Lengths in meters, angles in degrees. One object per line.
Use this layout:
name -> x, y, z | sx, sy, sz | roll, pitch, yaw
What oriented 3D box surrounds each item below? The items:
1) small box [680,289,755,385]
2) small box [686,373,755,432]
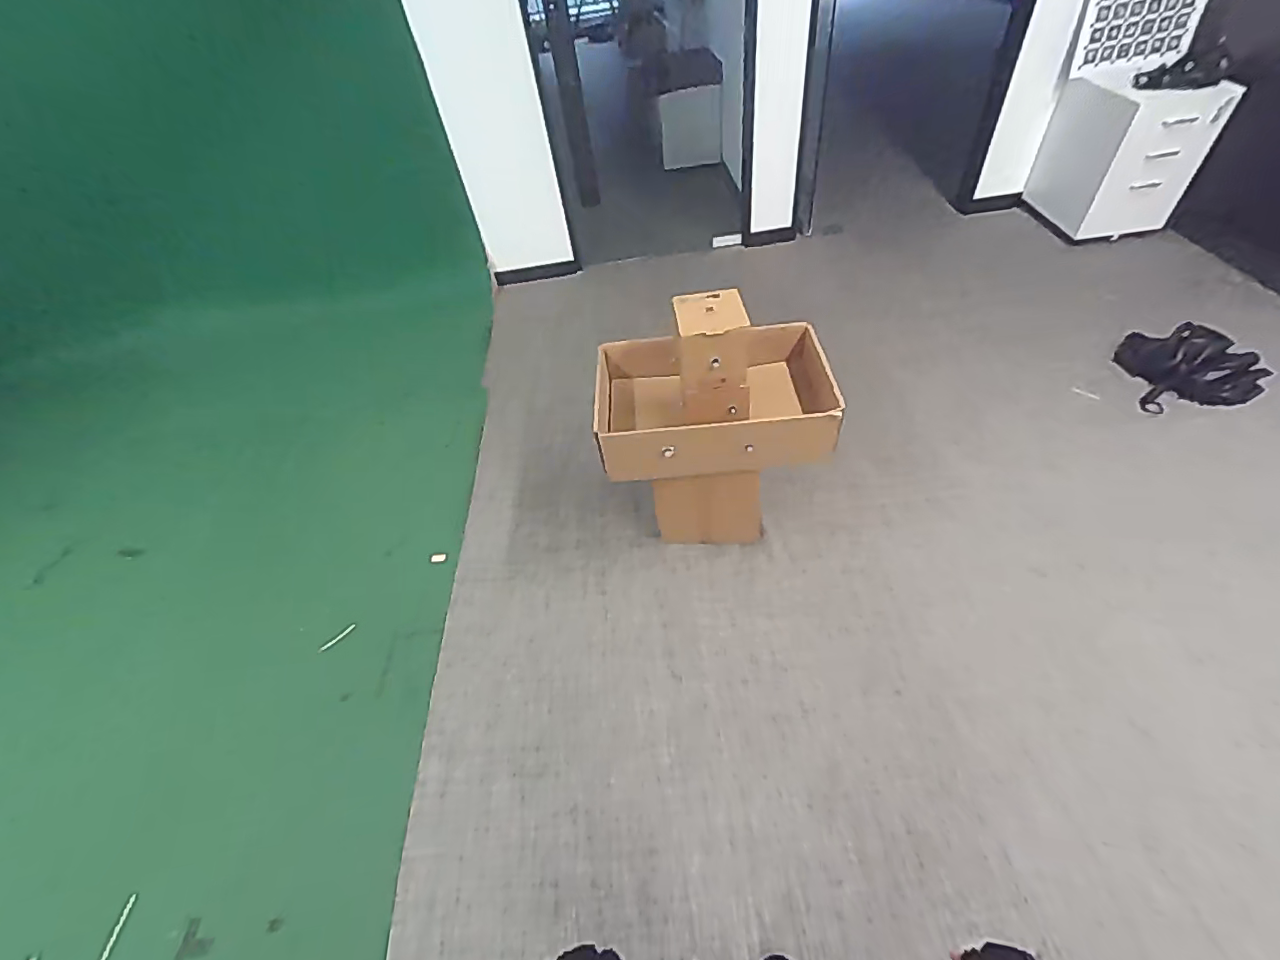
small box -> 0.192, -0.353, 1.360 | 0.168, 0.176, 0.179 | -6, 49, 2
small box -> 0.216, -0.244, 1.479 | 0.168, 0.176, 0.179 | -6, 46, 2
